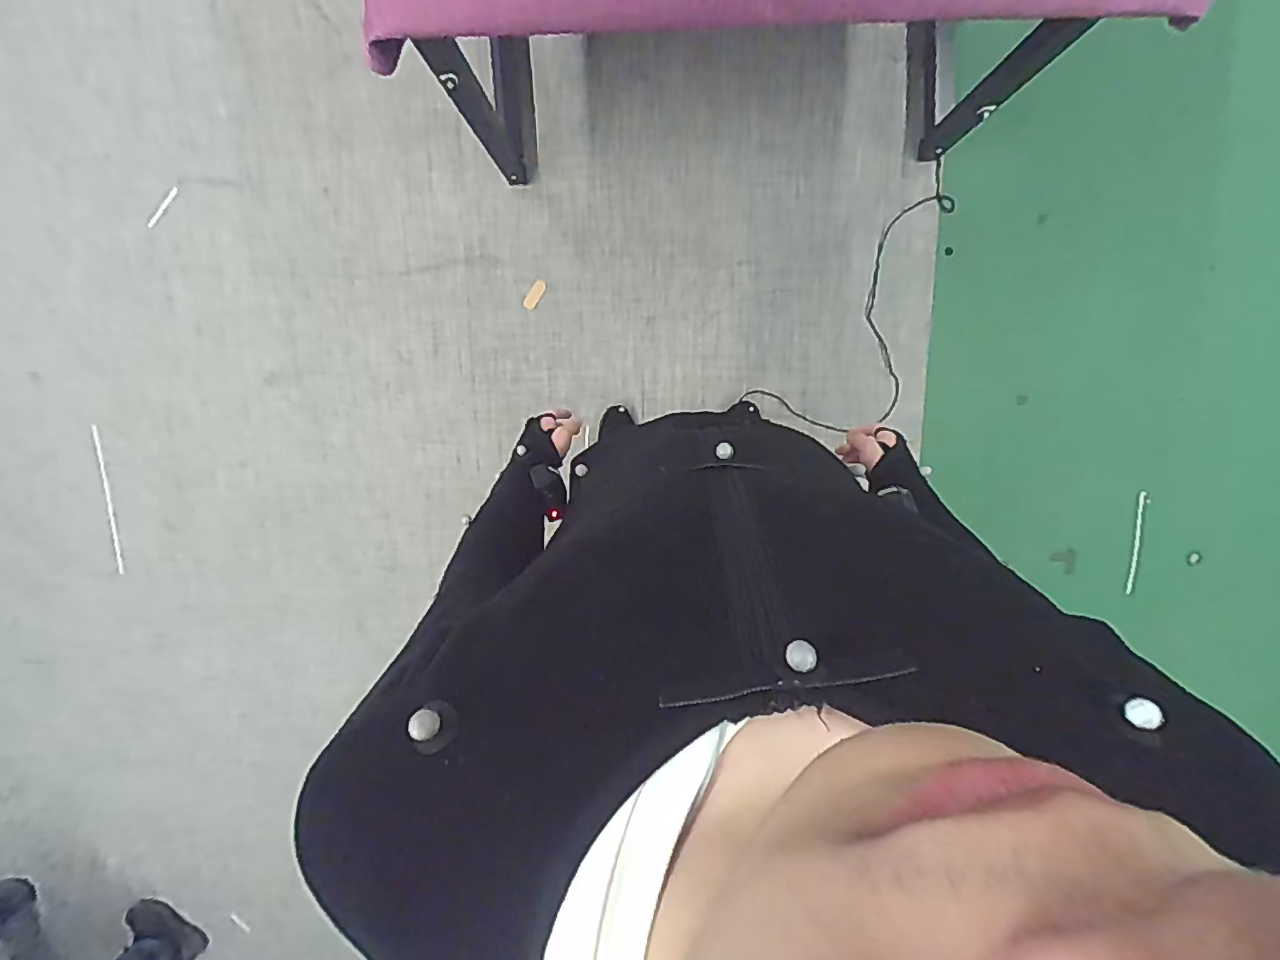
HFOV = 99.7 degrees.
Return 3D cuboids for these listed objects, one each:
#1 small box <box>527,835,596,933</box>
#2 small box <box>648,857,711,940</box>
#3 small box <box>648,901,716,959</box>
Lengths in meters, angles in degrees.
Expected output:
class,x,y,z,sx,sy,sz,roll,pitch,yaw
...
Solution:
class,x,y,z,sx,sy,sz,roll,pitch,yaw
small box,-0.221,1.161,1.562,0.179,0.176,0.168,0,98,0
small box,0.124,1.362,1.746,0.179,0.176,0.168,8,99,0
small box,0.116,1.380,1.581,0.179,0.176,0.168,8,99,0
